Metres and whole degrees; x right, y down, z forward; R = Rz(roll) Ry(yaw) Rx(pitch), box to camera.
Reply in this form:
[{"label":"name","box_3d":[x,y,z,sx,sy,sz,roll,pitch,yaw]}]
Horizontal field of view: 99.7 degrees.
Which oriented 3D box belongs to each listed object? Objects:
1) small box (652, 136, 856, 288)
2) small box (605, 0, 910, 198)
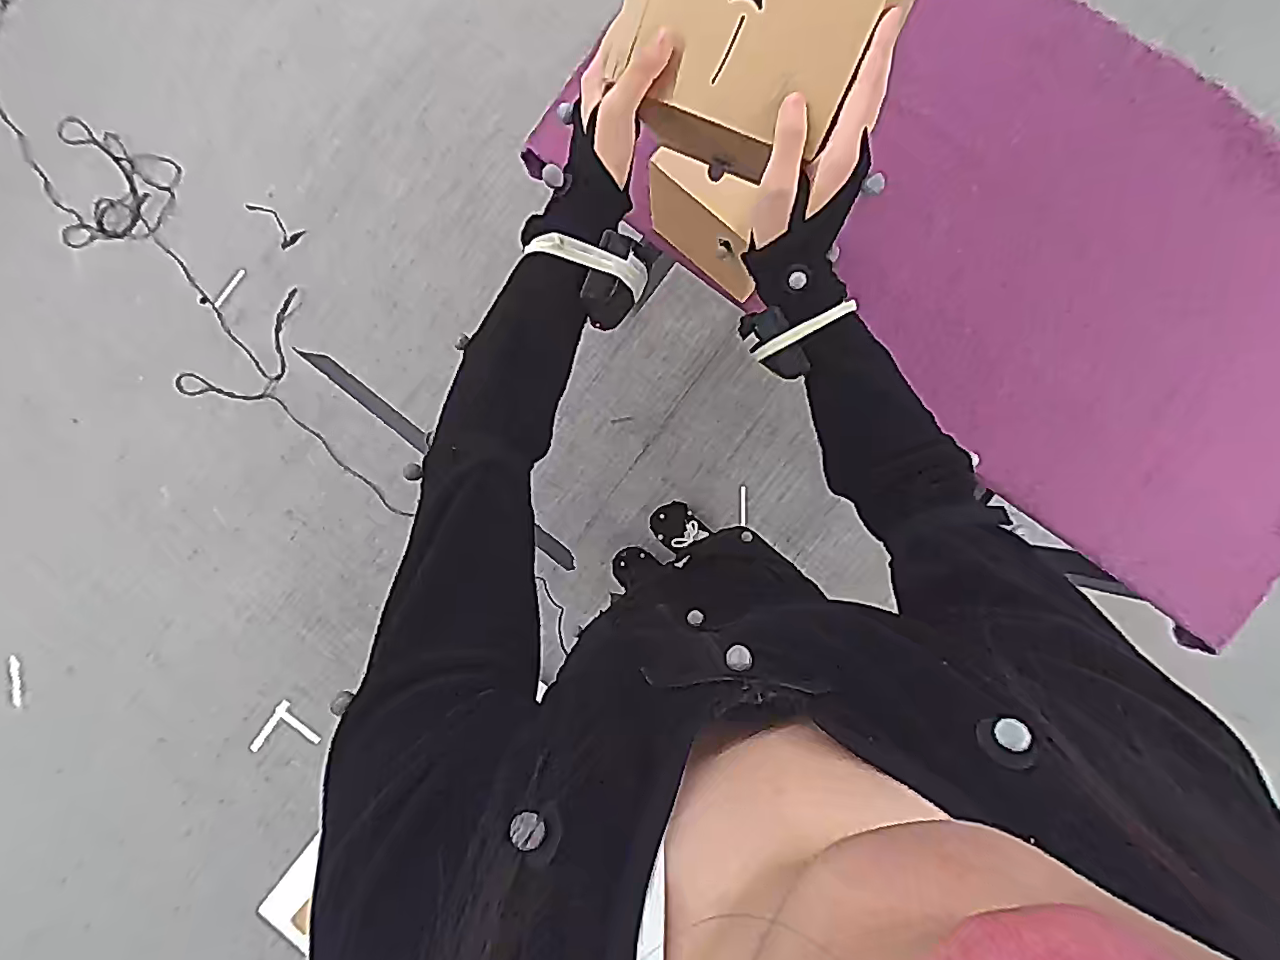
[{"label":"small box","box_3d":[0.135,-0.375,0.698,0.179,0.176,0.168,42,91,3]},{"label":"small box","box_3d":[0.100,-0.344,0.408,0.168,0.176,0.179,27,113,8]}]
